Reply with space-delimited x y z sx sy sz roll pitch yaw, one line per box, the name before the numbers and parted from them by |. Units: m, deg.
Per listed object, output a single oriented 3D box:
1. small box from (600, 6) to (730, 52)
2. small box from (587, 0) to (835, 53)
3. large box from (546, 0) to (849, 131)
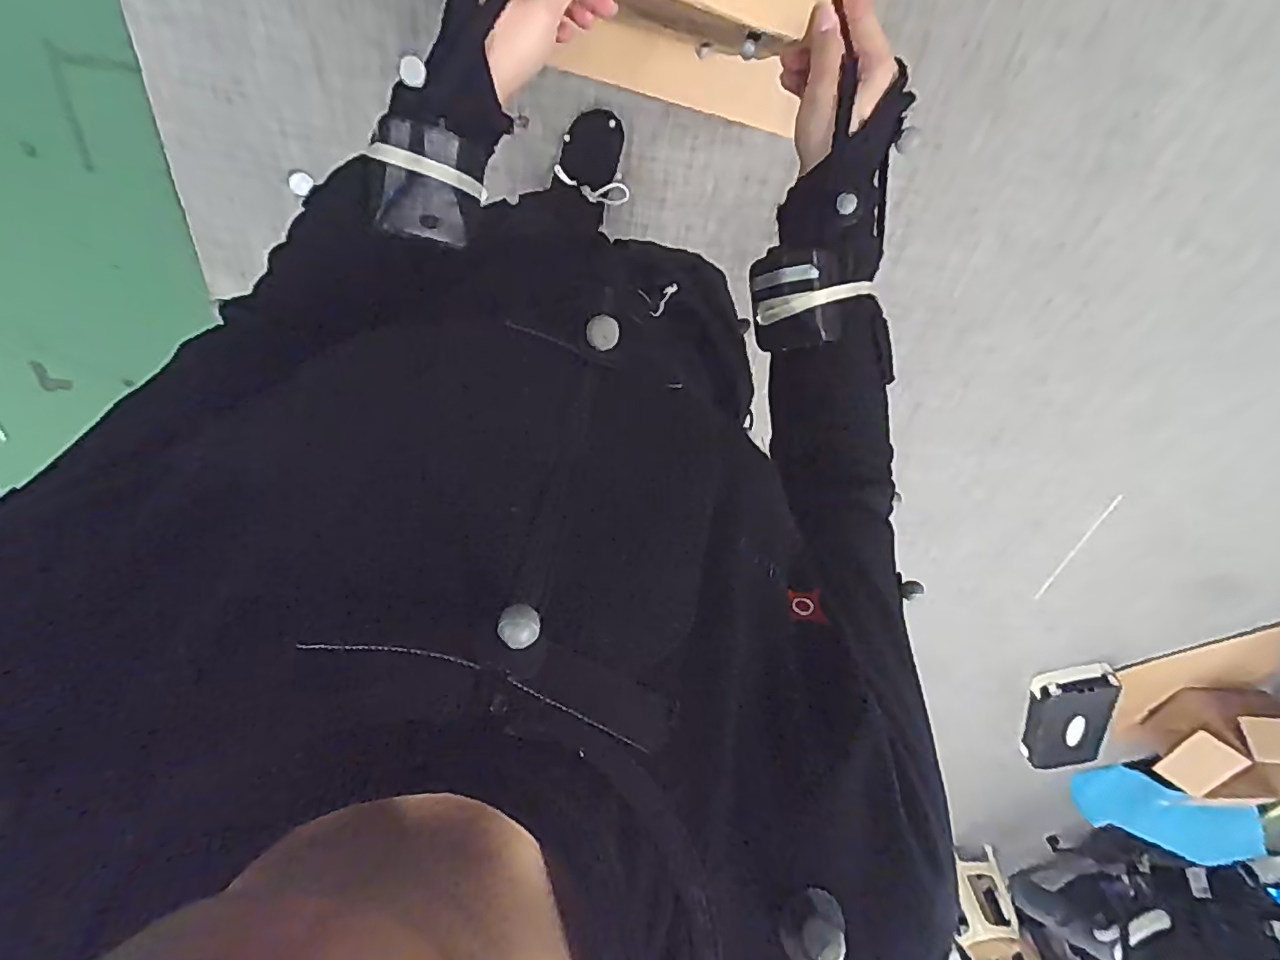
small box | 0.051 -0.522 0.497 0.168 0.176 0.179 8 125 -11
small box | 0.049 -0.409 0.359 0.179 0.176 0.168 9 124 -12
large box | 0.082 -0.767 0.824 0.408 0.320 0.320 9 126 -10
